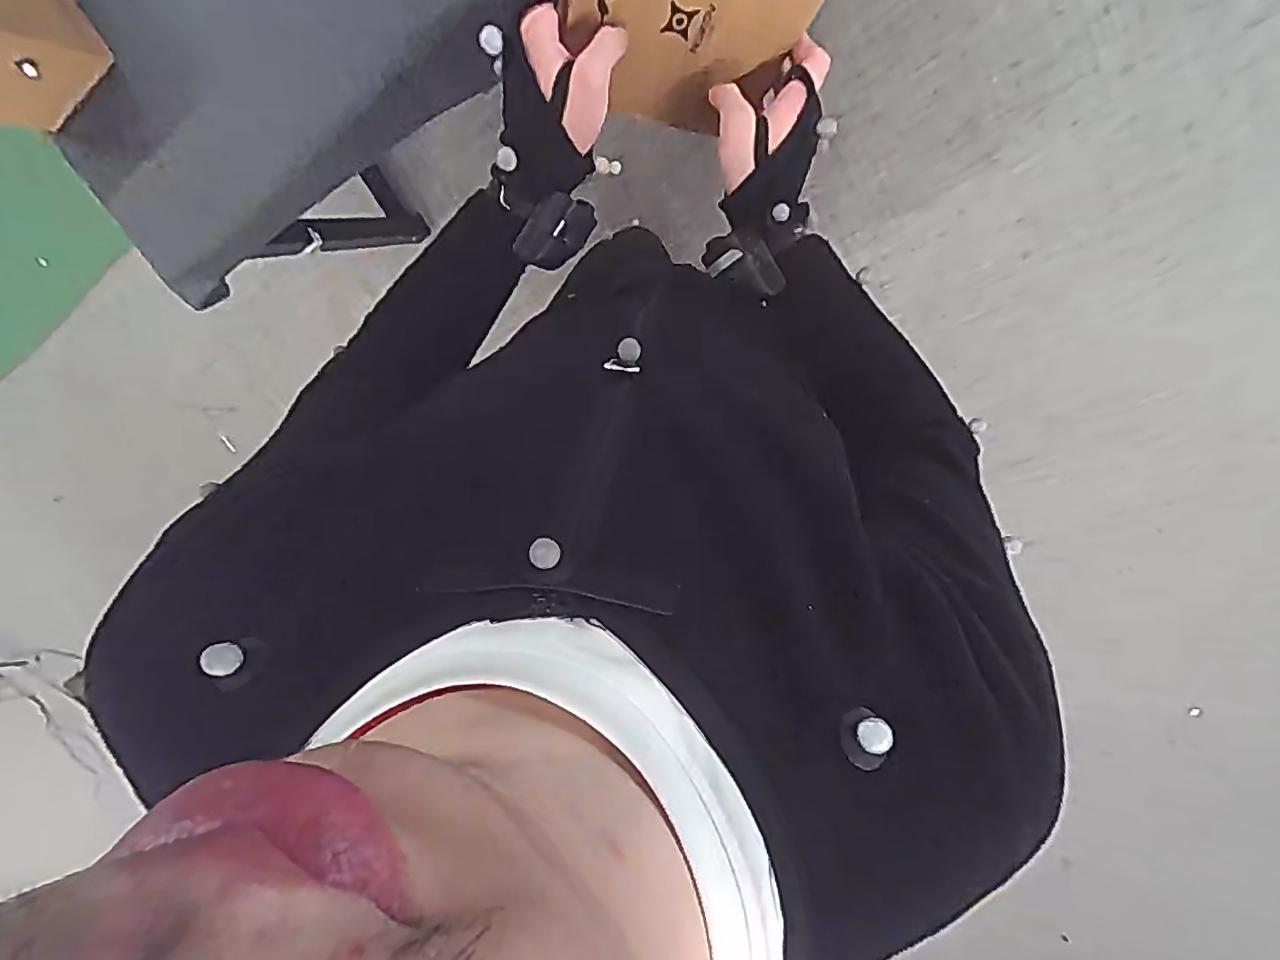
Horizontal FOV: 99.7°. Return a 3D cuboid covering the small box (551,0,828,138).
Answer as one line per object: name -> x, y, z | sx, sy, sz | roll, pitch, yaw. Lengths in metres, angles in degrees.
small box -> 0.033, -0.415, 0.419 | 0.179, 0.168, 0.176 | 0, 77, -21

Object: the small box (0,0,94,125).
small box -> -0.838, -0.572, 0.657 | 0.179, 0.176, 0.168 | -20, 108, 20
